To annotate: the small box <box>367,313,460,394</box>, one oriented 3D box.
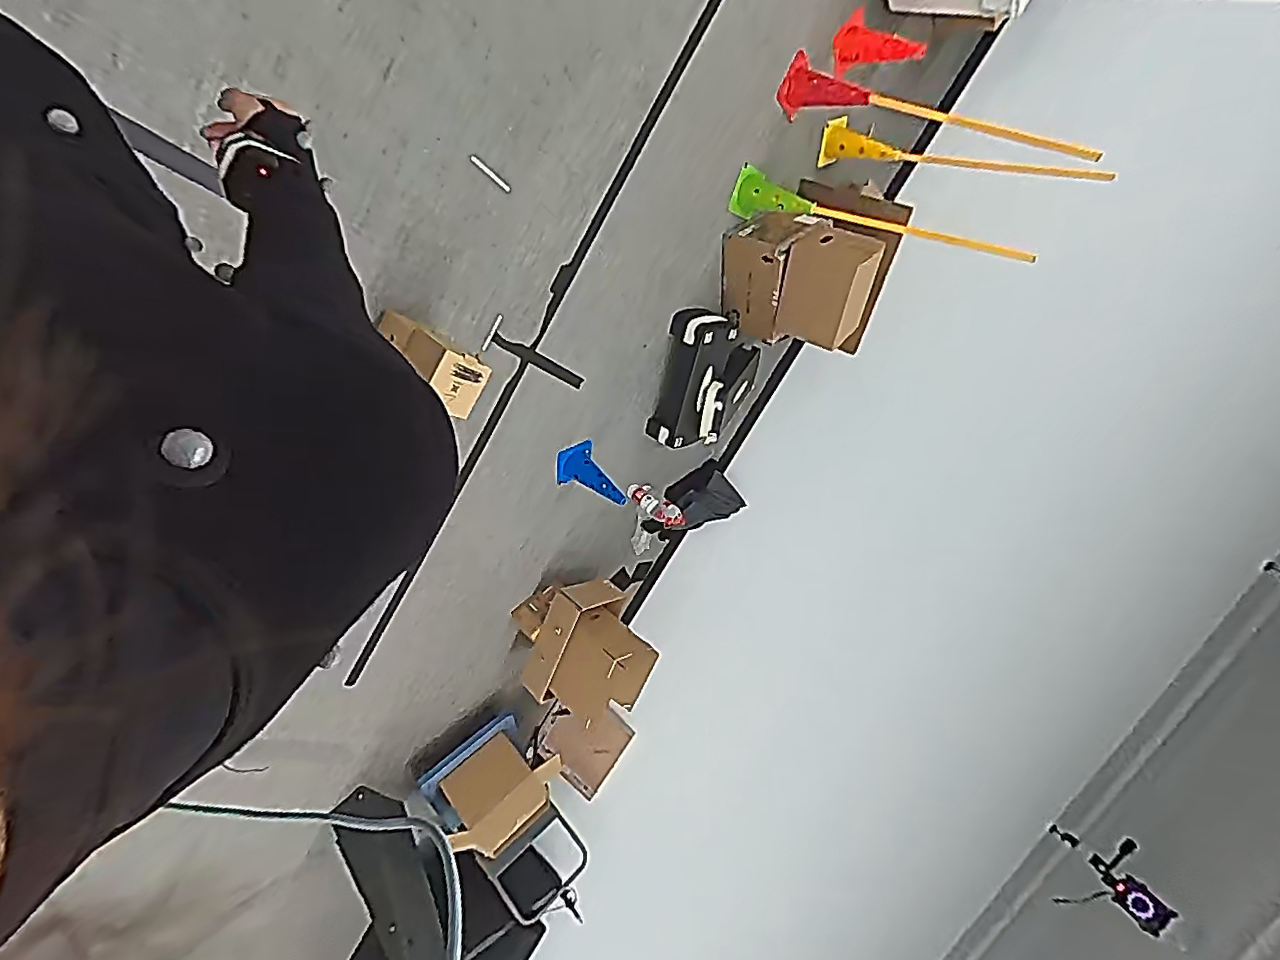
[{"bbox_3d":[-0.689,-0.386,1.635,0.179,0.176,0.168,11,112,-57],"label":"small box"}]
